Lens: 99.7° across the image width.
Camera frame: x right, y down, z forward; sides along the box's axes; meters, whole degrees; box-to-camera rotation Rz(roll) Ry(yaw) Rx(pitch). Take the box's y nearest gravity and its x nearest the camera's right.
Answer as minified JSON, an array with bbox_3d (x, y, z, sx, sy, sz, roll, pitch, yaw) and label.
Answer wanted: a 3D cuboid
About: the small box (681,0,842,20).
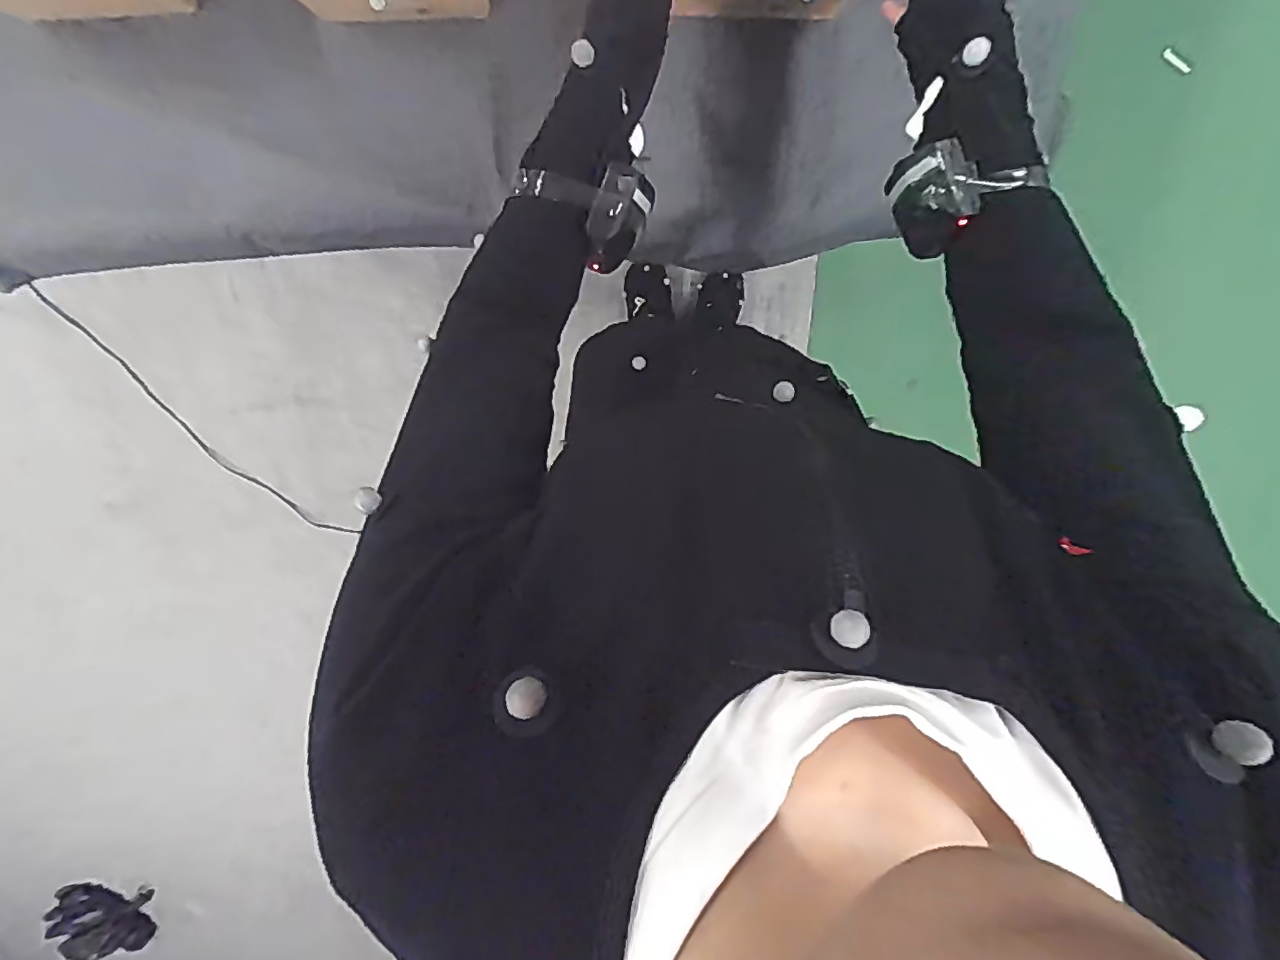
[{"bbox_3d":[0.113,-0.505,0.432,0.168,0.176,0.179,1,113,-1],"label":"small box"}]

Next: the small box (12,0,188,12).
[{"bbox_3d":[-0.520,-0.509,0.433,0.179,0.176,0.168,-2,114,0],"label":"small box"}]

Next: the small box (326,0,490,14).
[{"bbox_3d":[-0.227,-0.508,0.432,0.168,0.176,0.179,0,114,1],"label":"small box"}]
